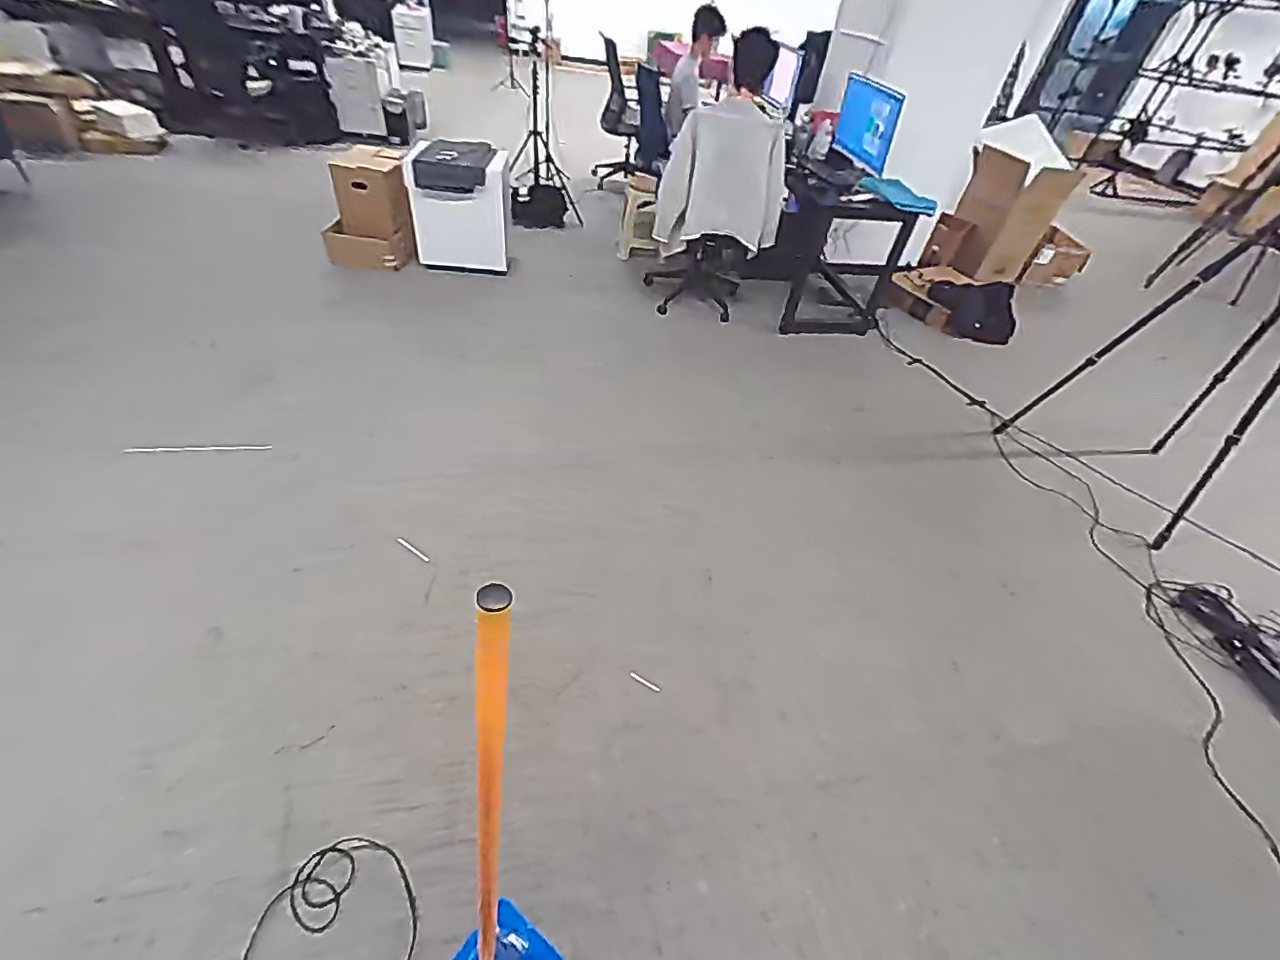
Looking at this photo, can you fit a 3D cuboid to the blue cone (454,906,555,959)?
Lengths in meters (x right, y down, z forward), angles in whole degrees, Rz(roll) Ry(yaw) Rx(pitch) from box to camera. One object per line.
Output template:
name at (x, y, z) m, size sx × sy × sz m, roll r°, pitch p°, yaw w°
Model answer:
blue cone at (-0.264, 0.876, 0.966) m, size 0.192 × 0.380 × 0.193 m, roll 30°, pitch 46°, yaw 21°
